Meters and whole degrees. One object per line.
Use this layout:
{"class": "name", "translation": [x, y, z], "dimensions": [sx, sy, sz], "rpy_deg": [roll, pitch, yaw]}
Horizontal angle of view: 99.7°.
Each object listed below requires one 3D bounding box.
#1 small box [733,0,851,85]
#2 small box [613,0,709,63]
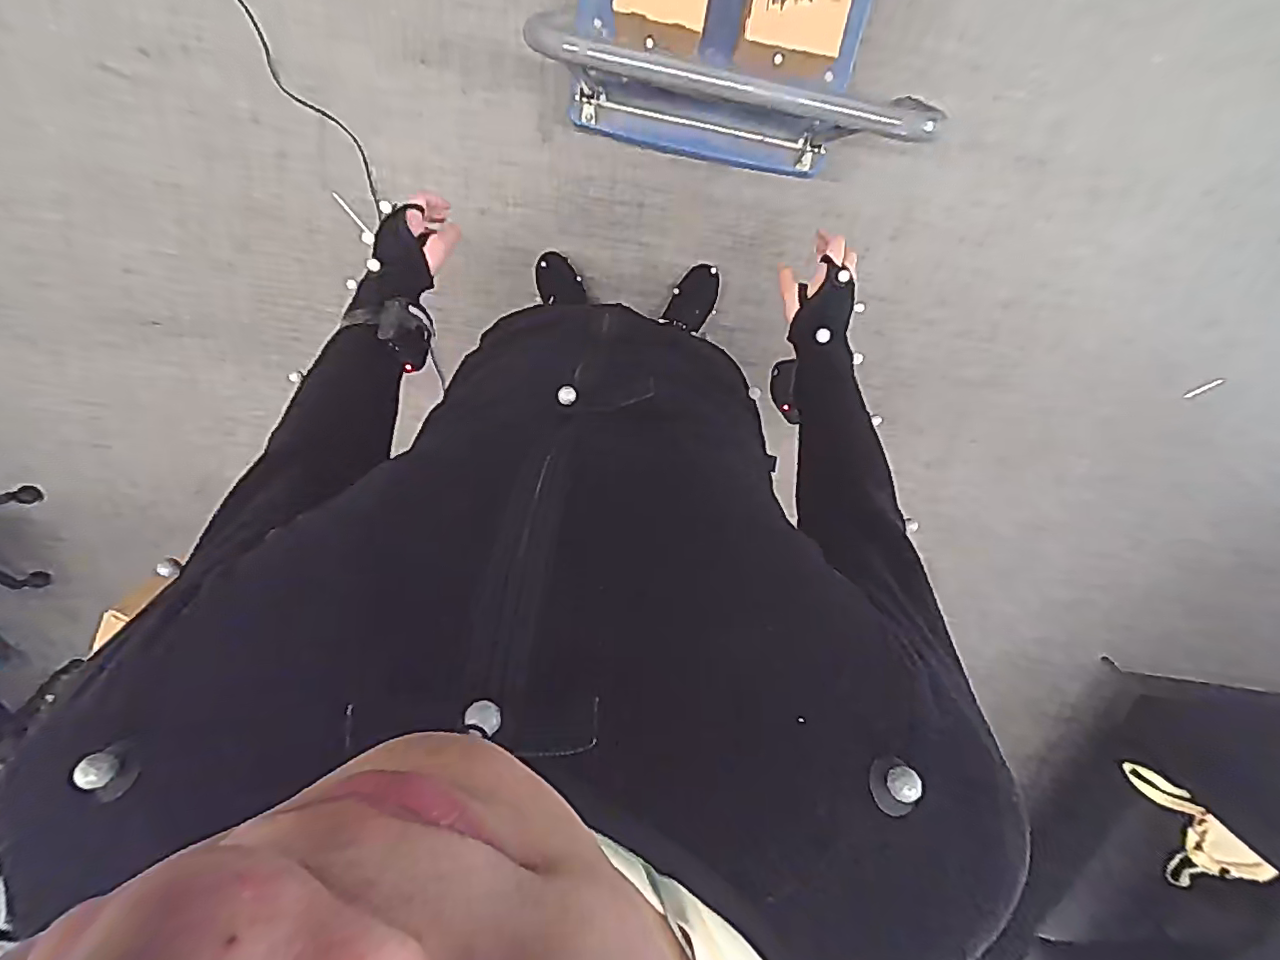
{"class": "small box", "translation": [0.284, -0.876, 1.020], "dimensions": [0.179, 0.176, 0.168], "rpy_deg": [9, 115, -4]}
{"class": "small box", "translation": [0.047, -0.921, 1.007], "dimensions": [0.168, 0.176, 0.179], "rpy_deg": [11, 115, -4]}
